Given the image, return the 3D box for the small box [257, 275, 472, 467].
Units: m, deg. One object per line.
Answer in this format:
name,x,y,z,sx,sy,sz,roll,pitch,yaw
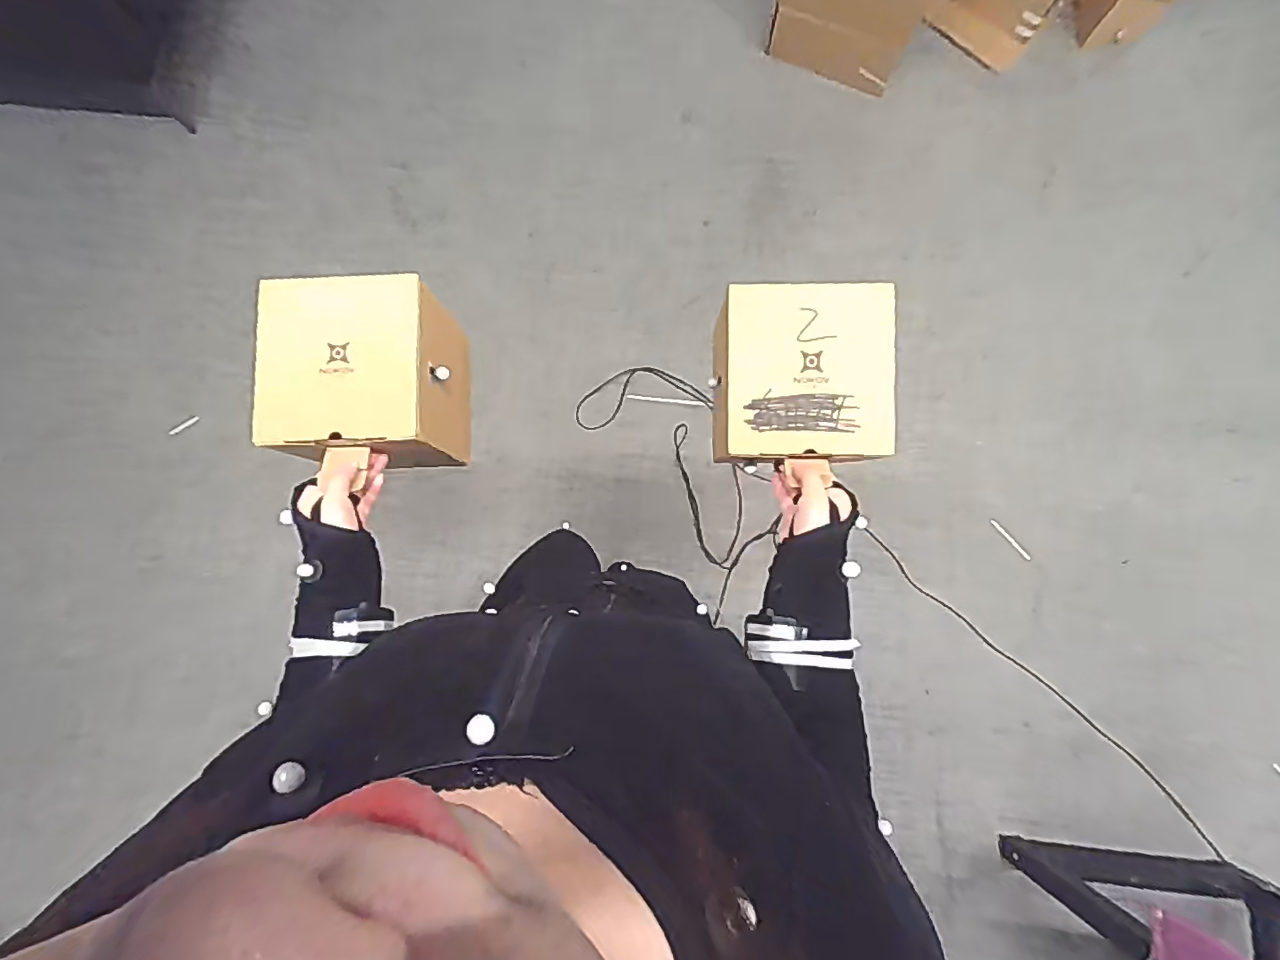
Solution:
small box,-0.301,-0.114,0.626,0.168,0.176,0.179,-2,84,-1
